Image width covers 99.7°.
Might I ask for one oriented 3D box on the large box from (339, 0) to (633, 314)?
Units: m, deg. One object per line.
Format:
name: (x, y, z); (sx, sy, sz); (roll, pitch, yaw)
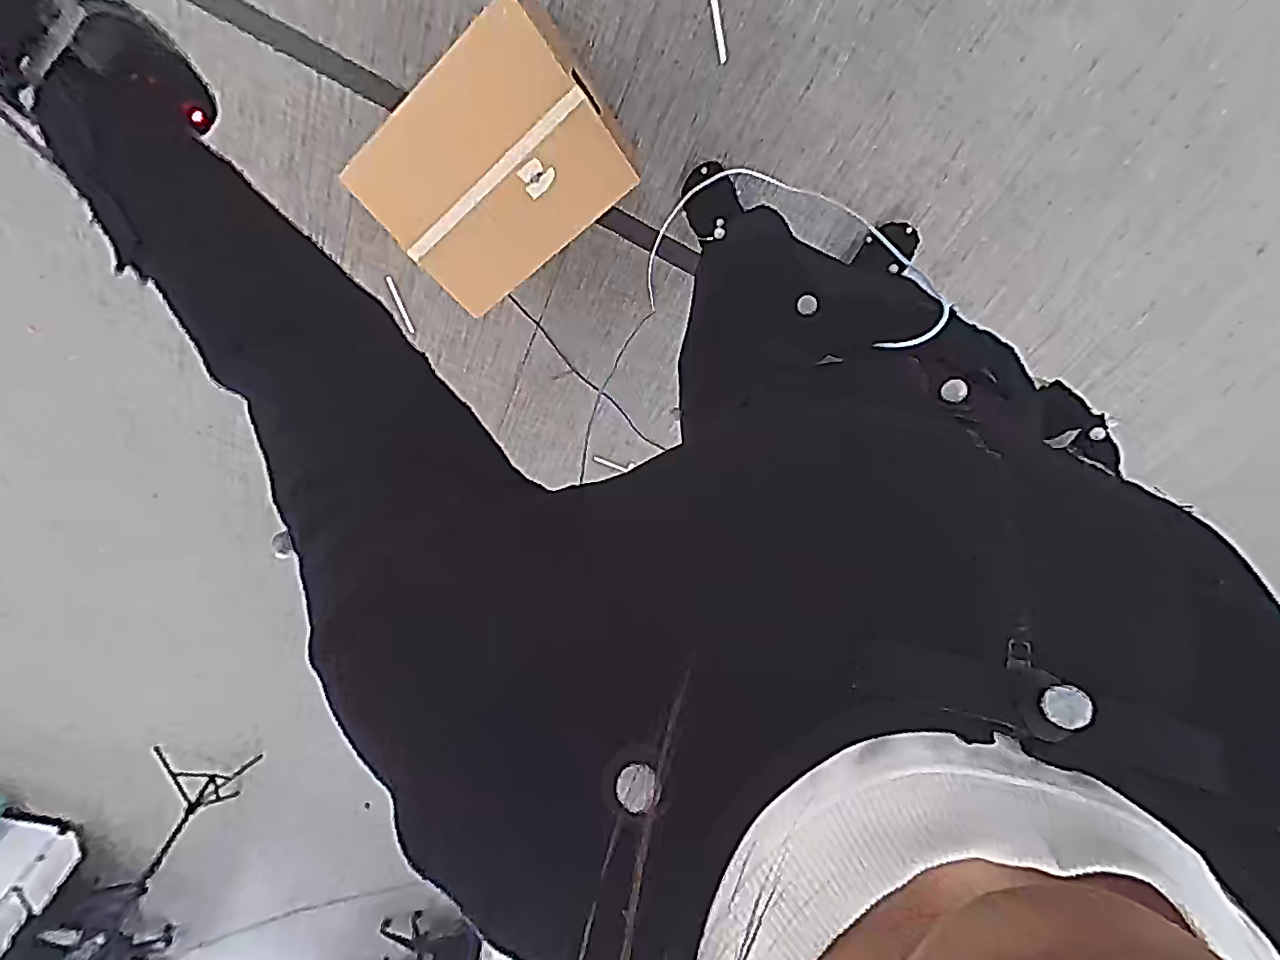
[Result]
large box: (-0.261, -0.599, 1.020); (0.408, 0.320, 0.320); (-32, 122, 20)
